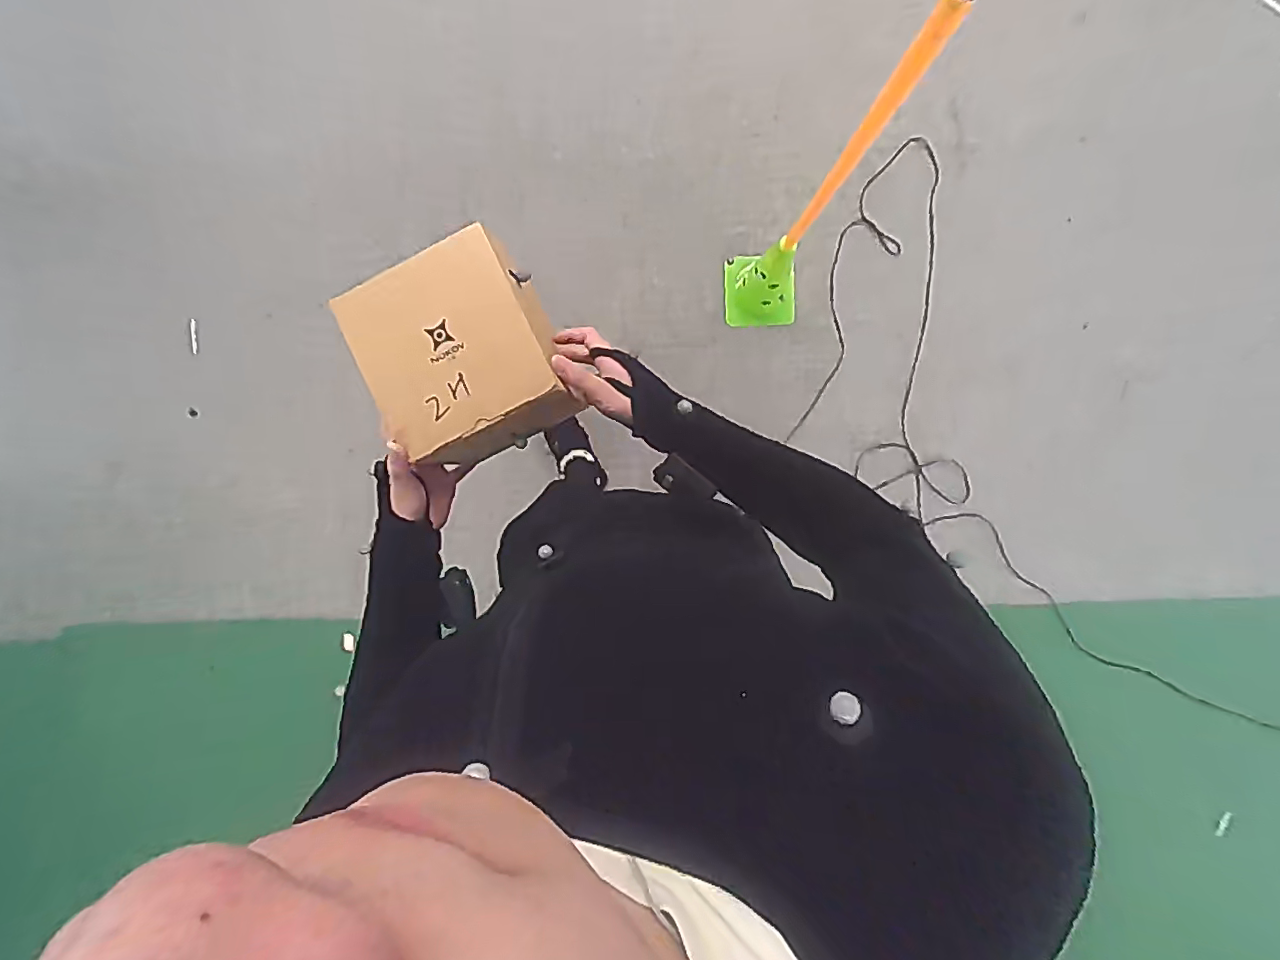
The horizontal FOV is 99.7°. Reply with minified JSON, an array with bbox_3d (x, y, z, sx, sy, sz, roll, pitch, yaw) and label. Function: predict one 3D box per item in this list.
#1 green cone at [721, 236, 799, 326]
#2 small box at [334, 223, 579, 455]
[{"bbox_3d":[0.337,-0.543,1.406,0.202,0.368,0.200,-2,94,0],"label":"green cone"},{"bbox_3d":[-0.184,-0.136,0.595,0.168,0.176,0.179,-25,90,4],"label":"small box"}]
